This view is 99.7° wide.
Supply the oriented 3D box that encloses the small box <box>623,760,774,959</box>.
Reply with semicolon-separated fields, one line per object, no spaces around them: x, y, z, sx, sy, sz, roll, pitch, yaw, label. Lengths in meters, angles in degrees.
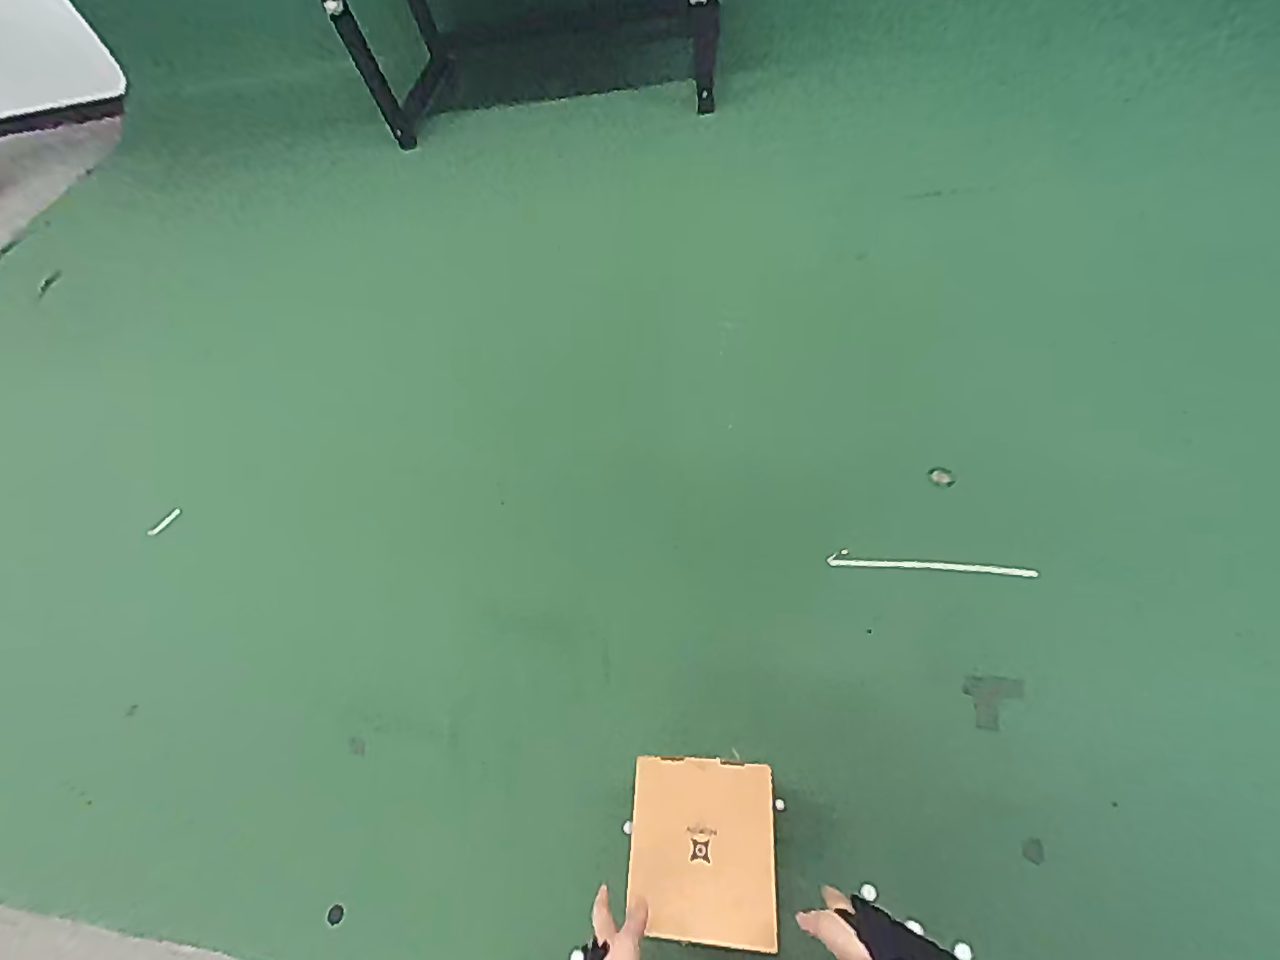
0.083;0.464;0.681;0.168;0.176;0.179;-2;57;11;small box
